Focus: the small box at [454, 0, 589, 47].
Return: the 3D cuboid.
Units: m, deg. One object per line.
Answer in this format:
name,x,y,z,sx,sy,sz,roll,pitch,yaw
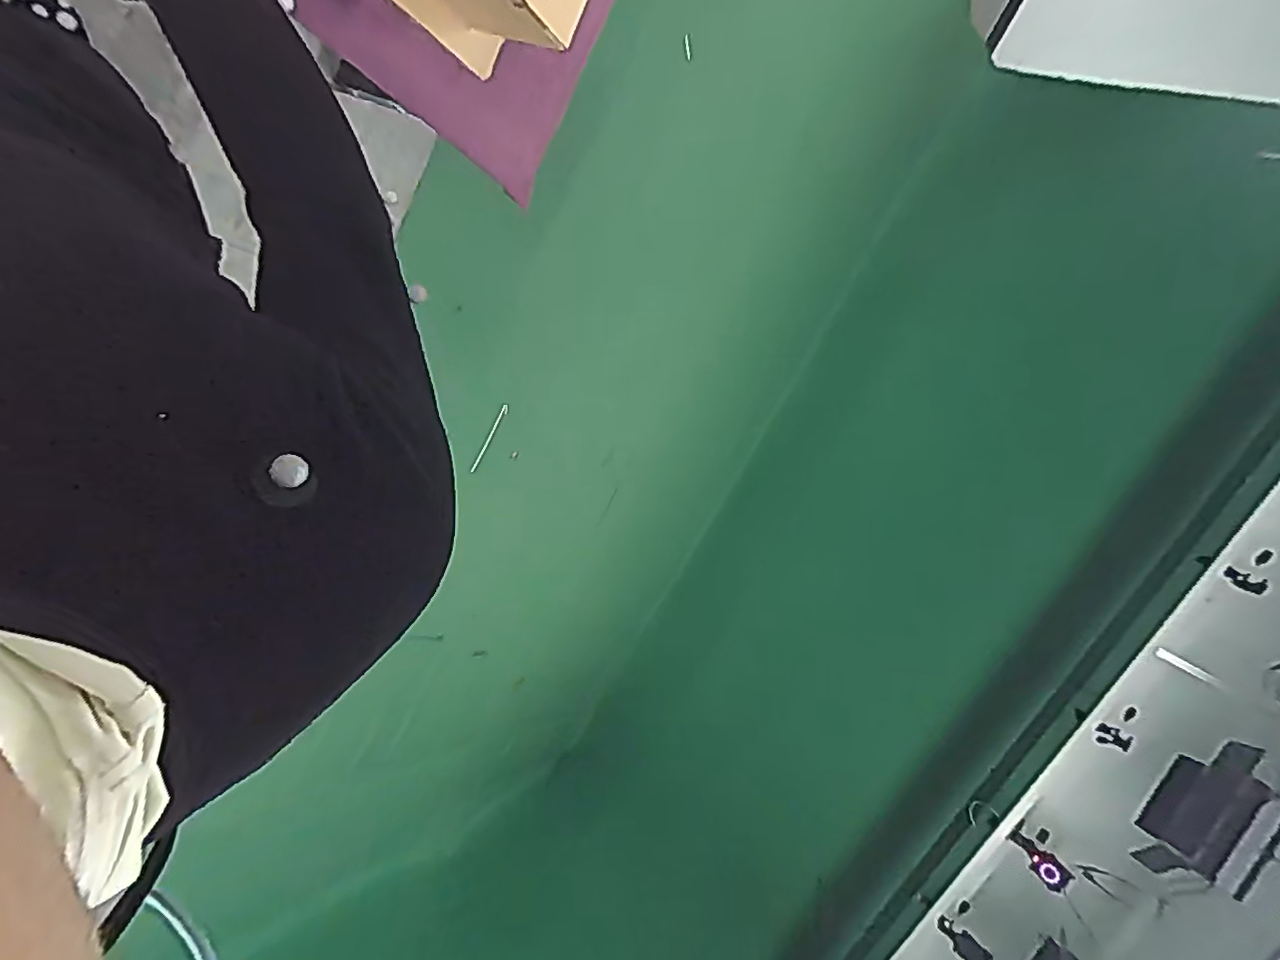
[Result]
small box,-0.137,-0.572,0.517,0.168,0.176,0.179,3,118,-60
